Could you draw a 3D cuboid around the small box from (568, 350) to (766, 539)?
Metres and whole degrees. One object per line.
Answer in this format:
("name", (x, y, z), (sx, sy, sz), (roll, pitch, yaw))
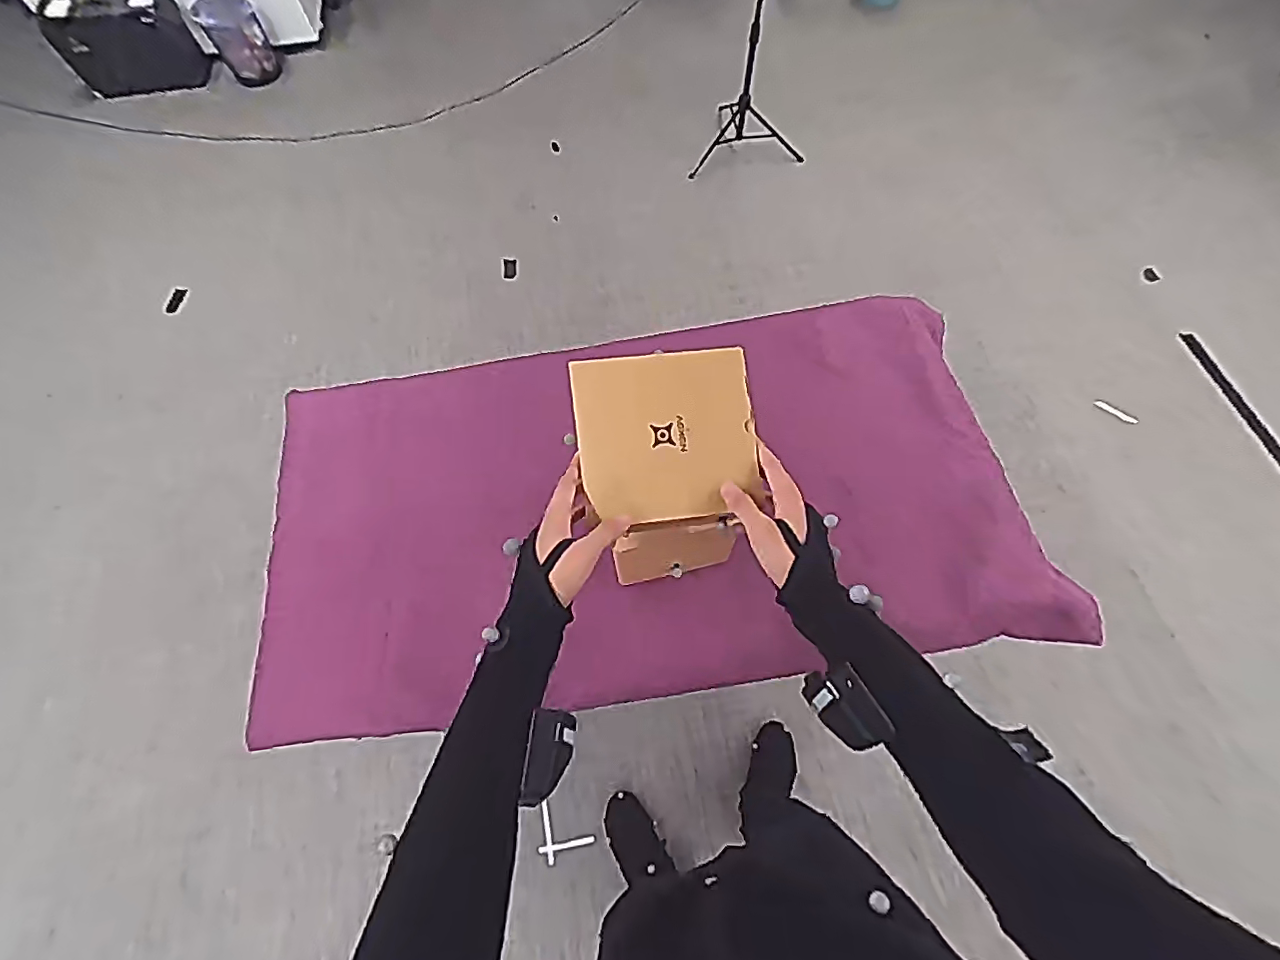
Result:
("small box", (0.020, -0.028, 0.596), (0.179, 0.176, 0.168), (-7, 82, -6))

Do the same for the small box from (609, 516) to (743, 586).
("small box", (0.036, 0.046, 0.812), (0.179, 0.176, 0.168), (-12, 63, -5))
